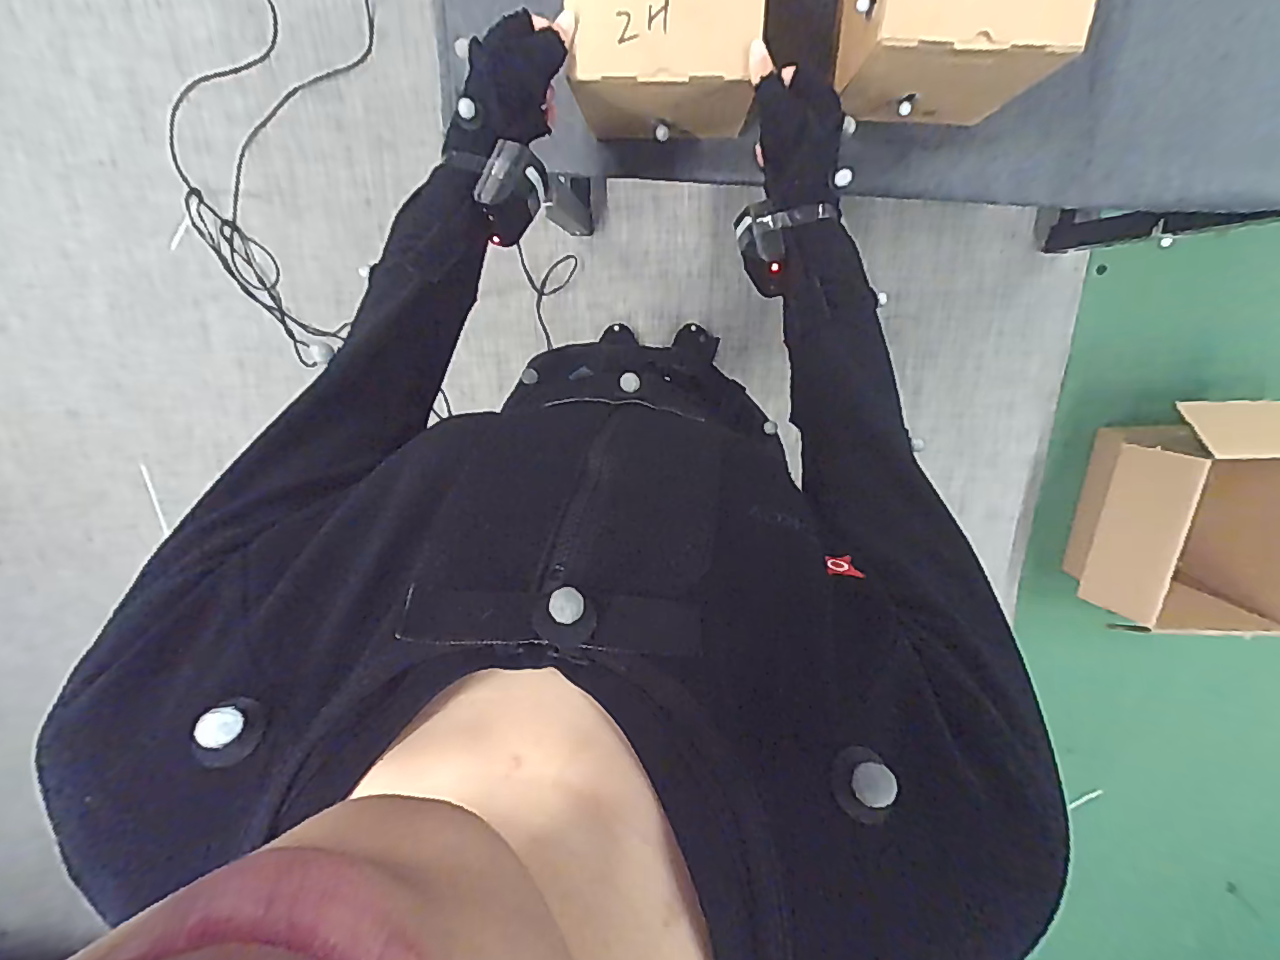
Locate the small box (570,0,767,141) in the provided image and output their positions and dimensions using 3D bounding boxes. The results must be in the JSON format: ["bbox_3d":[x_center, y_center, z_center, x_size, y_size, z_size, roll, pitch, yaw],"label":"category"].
[{"bbox_3d":[0.027,-0.446,0.512,0.168,0.176,0.179,2,108,3],"label":"small box"}]
